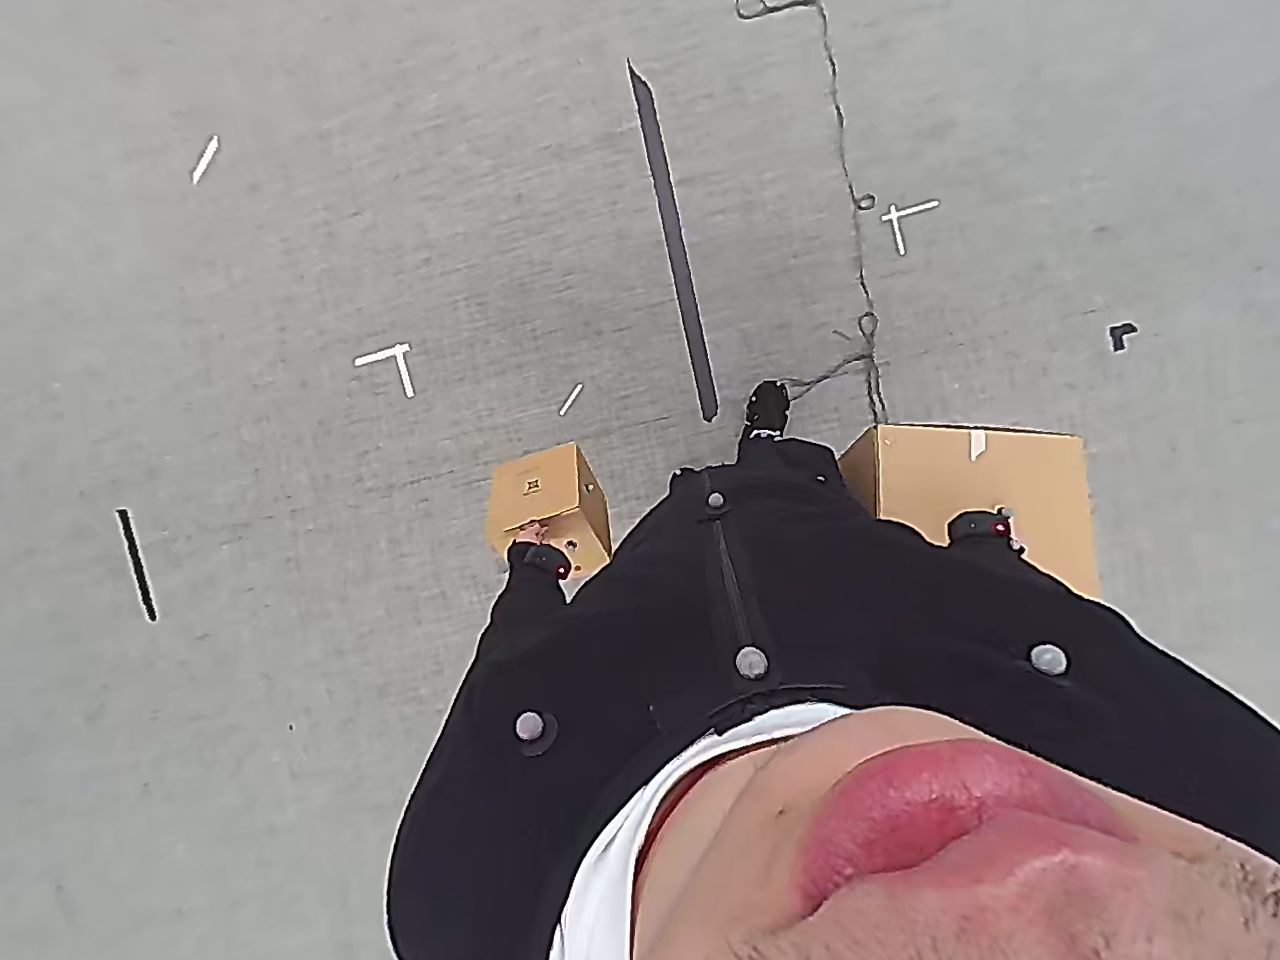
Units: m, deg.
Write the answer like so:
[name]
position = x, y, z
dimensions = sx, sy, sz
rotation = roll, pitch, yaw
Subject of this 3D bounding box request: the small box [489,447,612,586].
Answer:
[small box]
position = -0.156, 0.074, 0.992
dimensions = 0.168, 0.179, 0.176
rotation = -17, 130, 6
